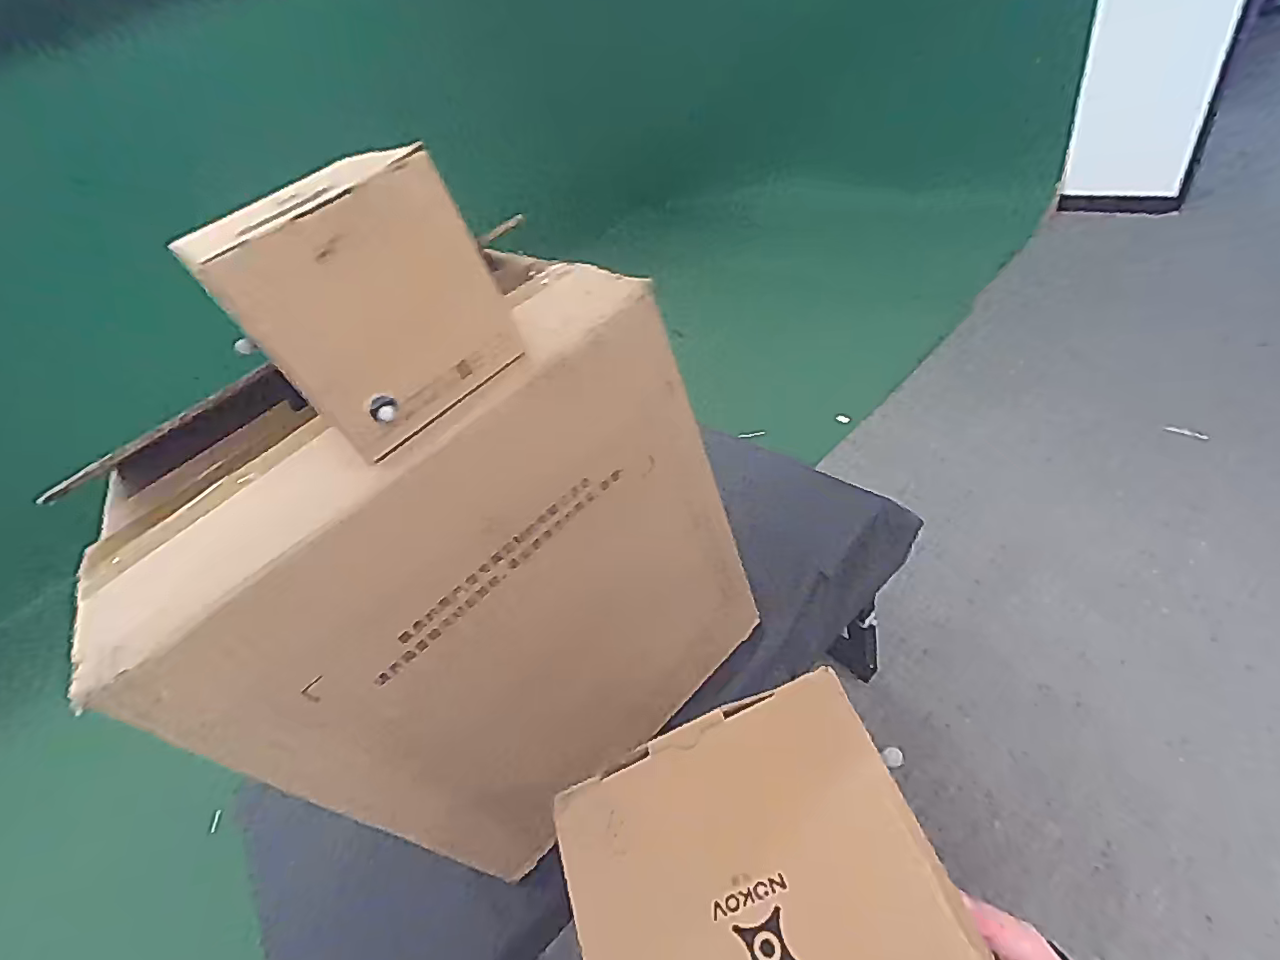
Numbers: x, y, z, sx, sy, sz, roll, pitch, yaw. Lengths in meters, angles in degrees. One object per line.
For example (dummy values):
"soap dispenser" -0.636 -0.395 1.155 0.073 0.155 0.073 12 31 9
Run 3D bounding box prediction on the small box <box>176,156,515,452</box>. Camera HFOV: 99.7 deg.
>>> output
"small box" -0.238 -0.148 0.460 0.168 0.176 0.179 -43 44 -20
